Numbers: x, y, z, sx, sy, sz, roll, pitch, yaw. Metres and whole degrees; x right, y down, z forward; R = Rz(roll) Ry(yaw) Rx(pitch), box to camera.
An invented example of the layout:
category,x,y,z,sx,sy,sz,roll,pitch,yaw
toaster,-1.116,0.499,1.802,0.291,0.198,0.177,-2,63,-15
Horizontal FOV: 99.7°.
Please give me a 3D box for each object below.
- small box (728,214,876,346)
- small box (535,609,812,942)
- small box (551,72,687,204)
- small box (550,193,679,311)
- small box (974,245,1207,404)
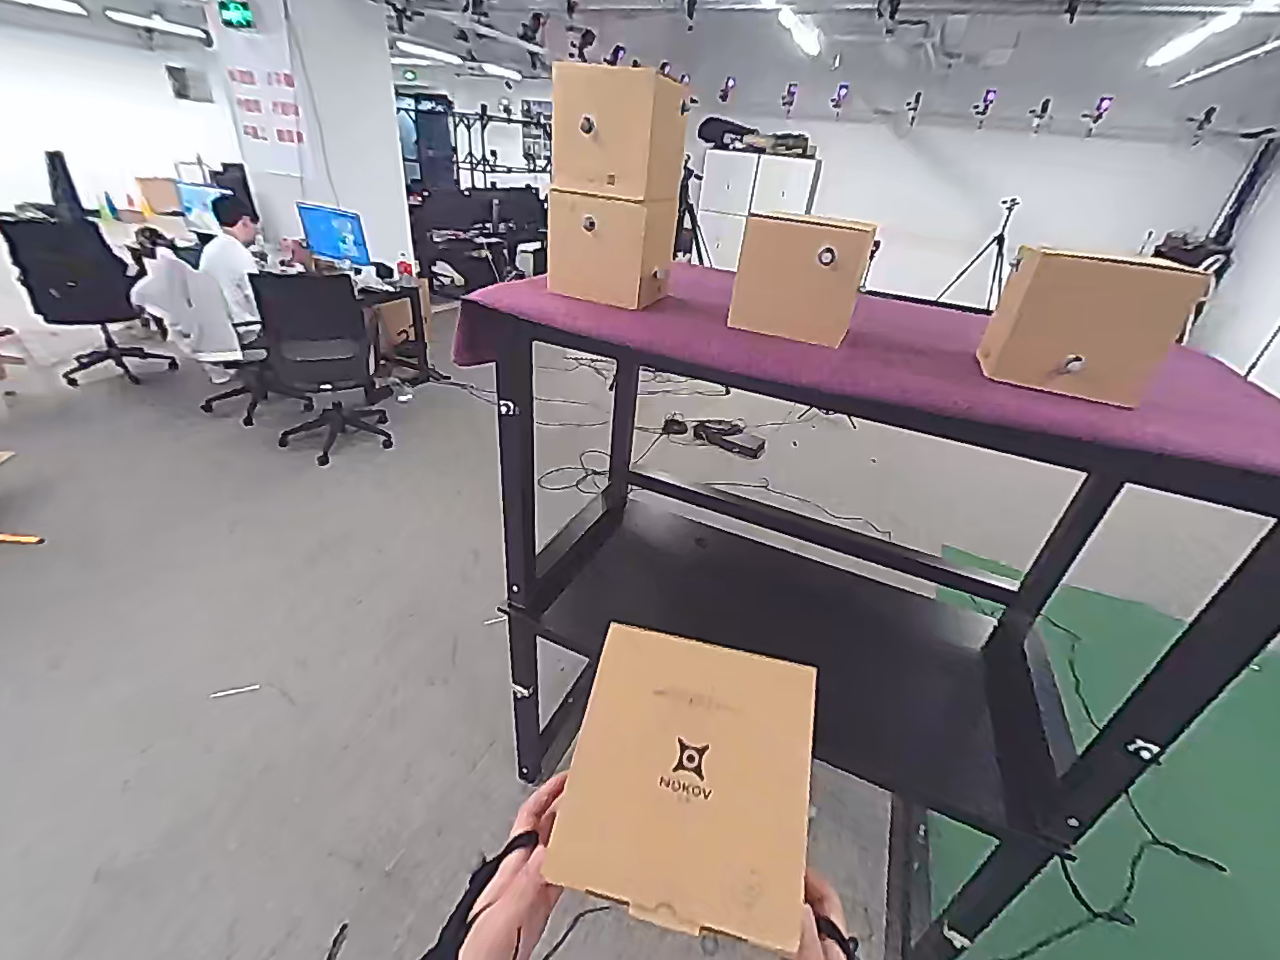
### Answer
category,x,y,z,sx,sy,sz,roll,pitch,yaw
small box,0.257,-0.321,0.867,0.179,0.176,0.168,17,31,20
small box,0.034,0.233,0.442,0.168,0.176,0.179,11,56,9
small box,-0.032,-0.550,0.886,0.168,0.176,0.179,15,31,15
small box,-0.048,-0.408,0.964,0.179,0.176,0.168,16,32,16
small box,0.592,-0.216,0.743,0.179,0.176,0.168,18,30,19
